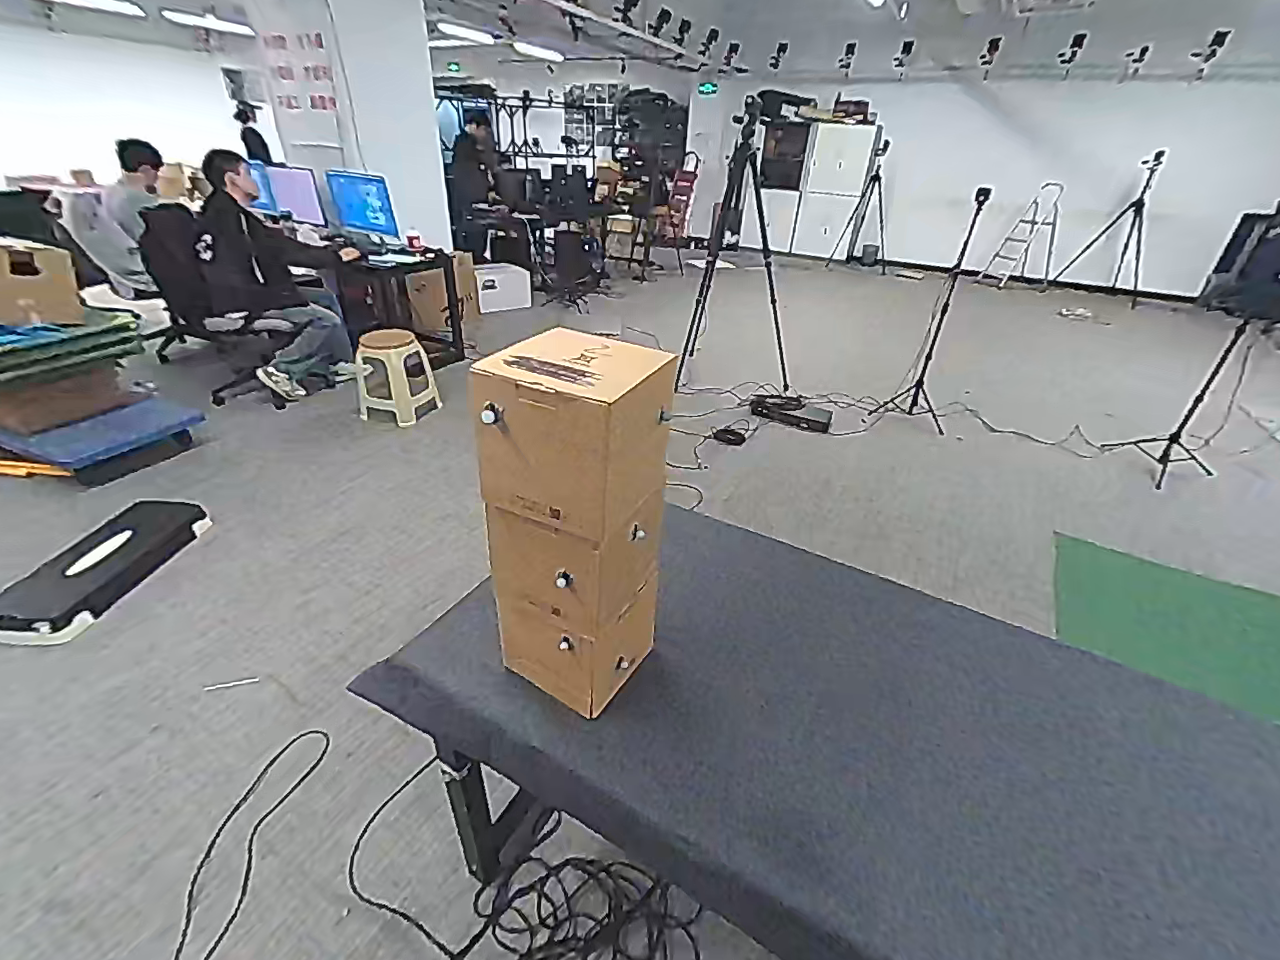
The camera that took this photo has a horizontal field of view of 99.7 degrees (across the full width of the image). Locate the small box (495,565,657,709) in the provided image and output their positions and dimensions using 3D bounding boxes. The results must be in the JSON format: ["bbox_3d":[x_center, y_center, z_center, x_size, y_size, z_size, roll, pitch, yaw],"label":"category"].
[{"bbox_3d":[-0.094,0.206,0.815,0.179,0.176,0.168,21,35,26],"label":"small box"}]

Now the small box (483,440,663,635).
[{"bbox_3d":[-0.083,0.073,0.724,0.168,0.176,0.179,19,33,20],"label":"small box"}]
